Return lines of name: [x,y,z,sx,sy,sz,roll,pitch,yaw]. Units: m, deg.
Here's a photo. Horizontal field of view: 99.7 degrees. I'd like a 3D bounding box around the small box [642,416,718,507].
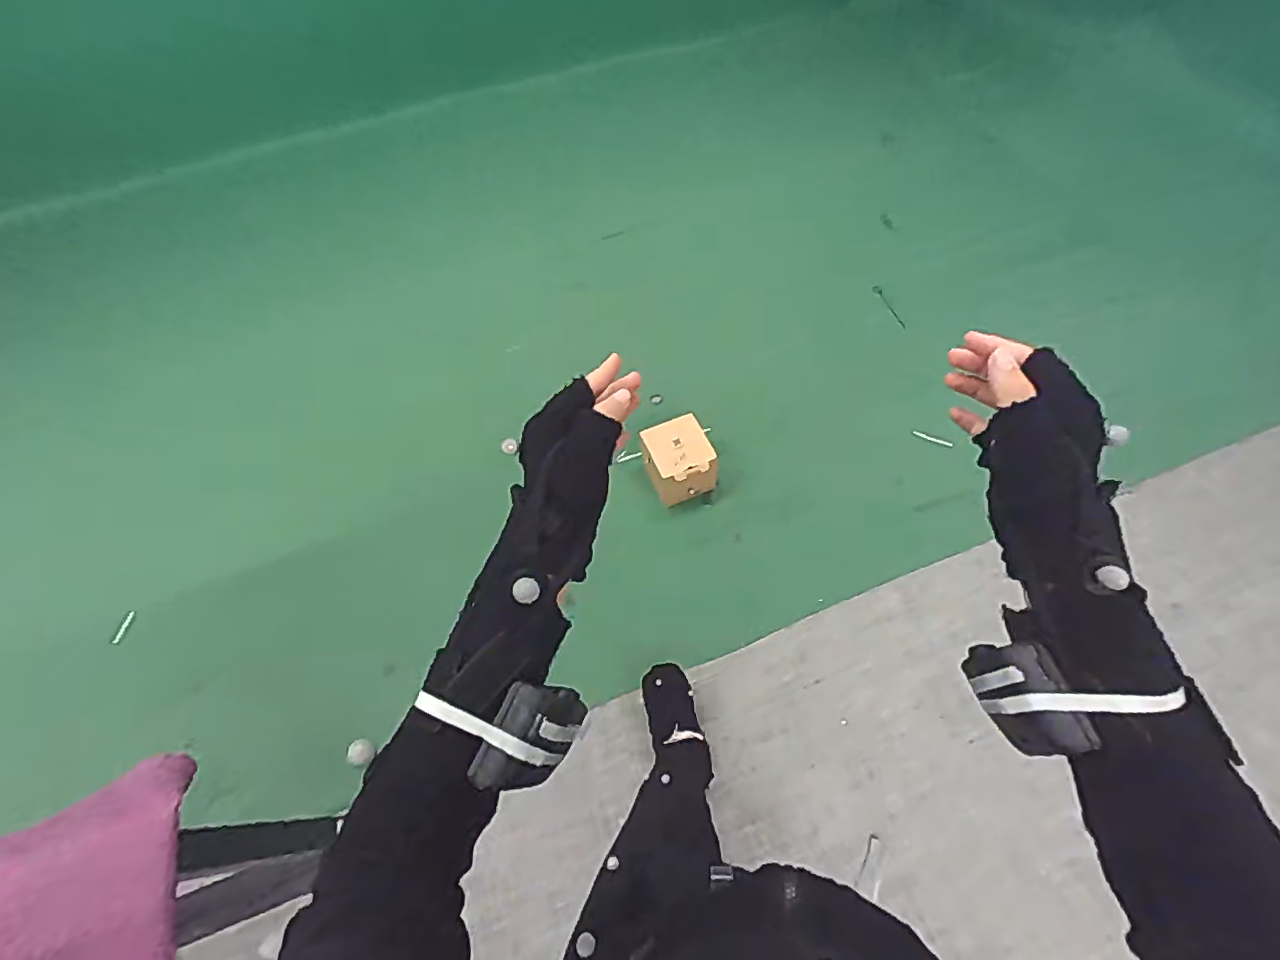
small box: [0.114,-0.050,1.576,0.168,0.176,0.179,-21,60,-8]
